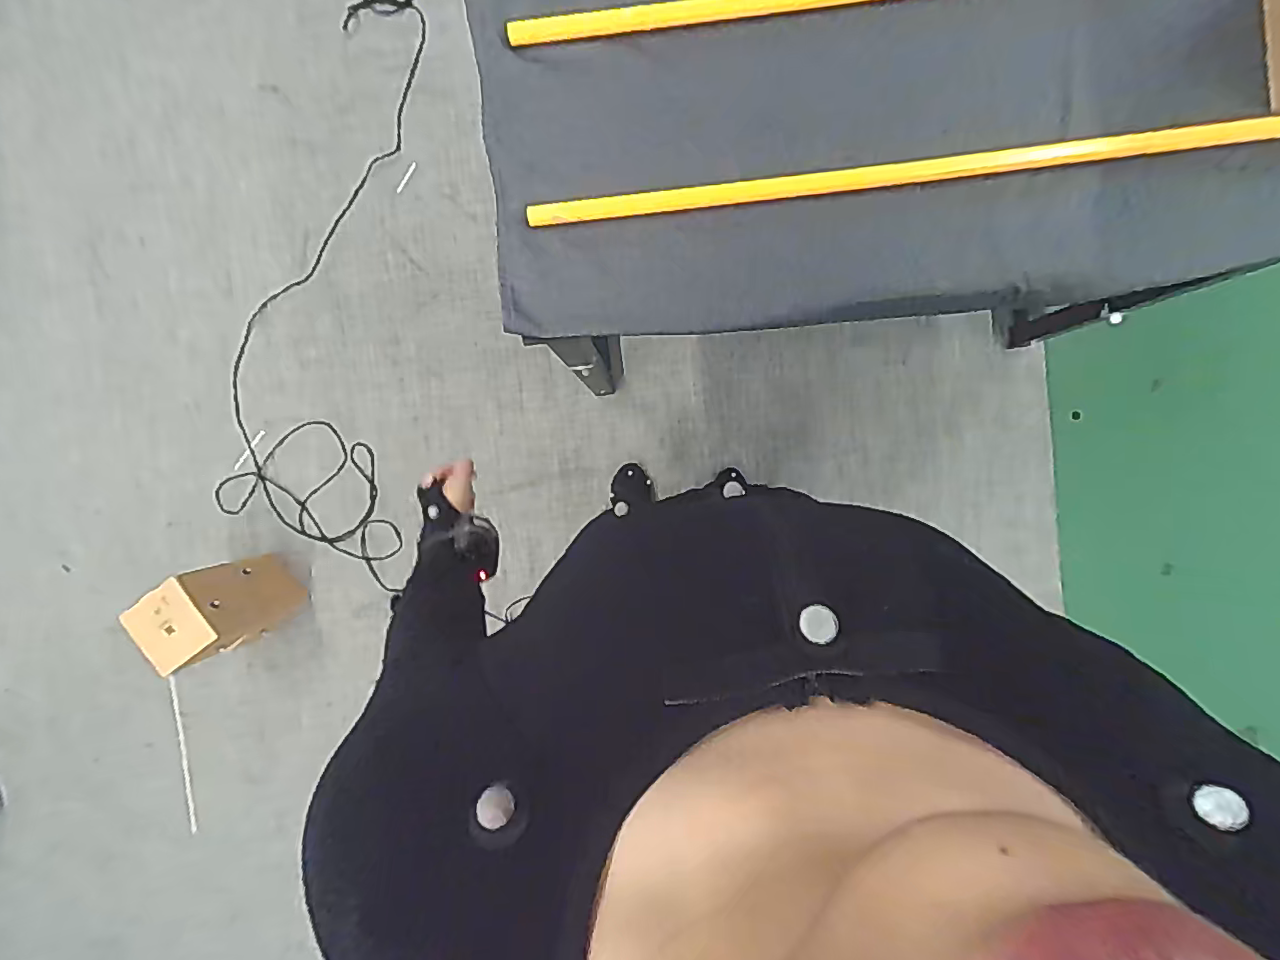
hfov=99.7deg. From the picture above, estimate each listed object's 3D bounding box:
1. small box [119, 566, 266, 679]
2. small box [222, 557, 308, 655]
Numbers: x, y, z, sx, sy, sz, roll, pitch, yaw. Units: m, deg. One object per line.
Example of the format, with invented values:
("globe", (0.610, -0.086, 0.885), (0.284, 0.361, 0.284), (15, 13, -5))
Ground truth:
("small box", (-1.052, 0.330, 1.289), (0.168, 0.176, 0.179), (-36, 90, 2))
("small box", (-1.048, 0.329, 1.453), (0.168, 0.176, 0.179), (-41, 90, 3))
